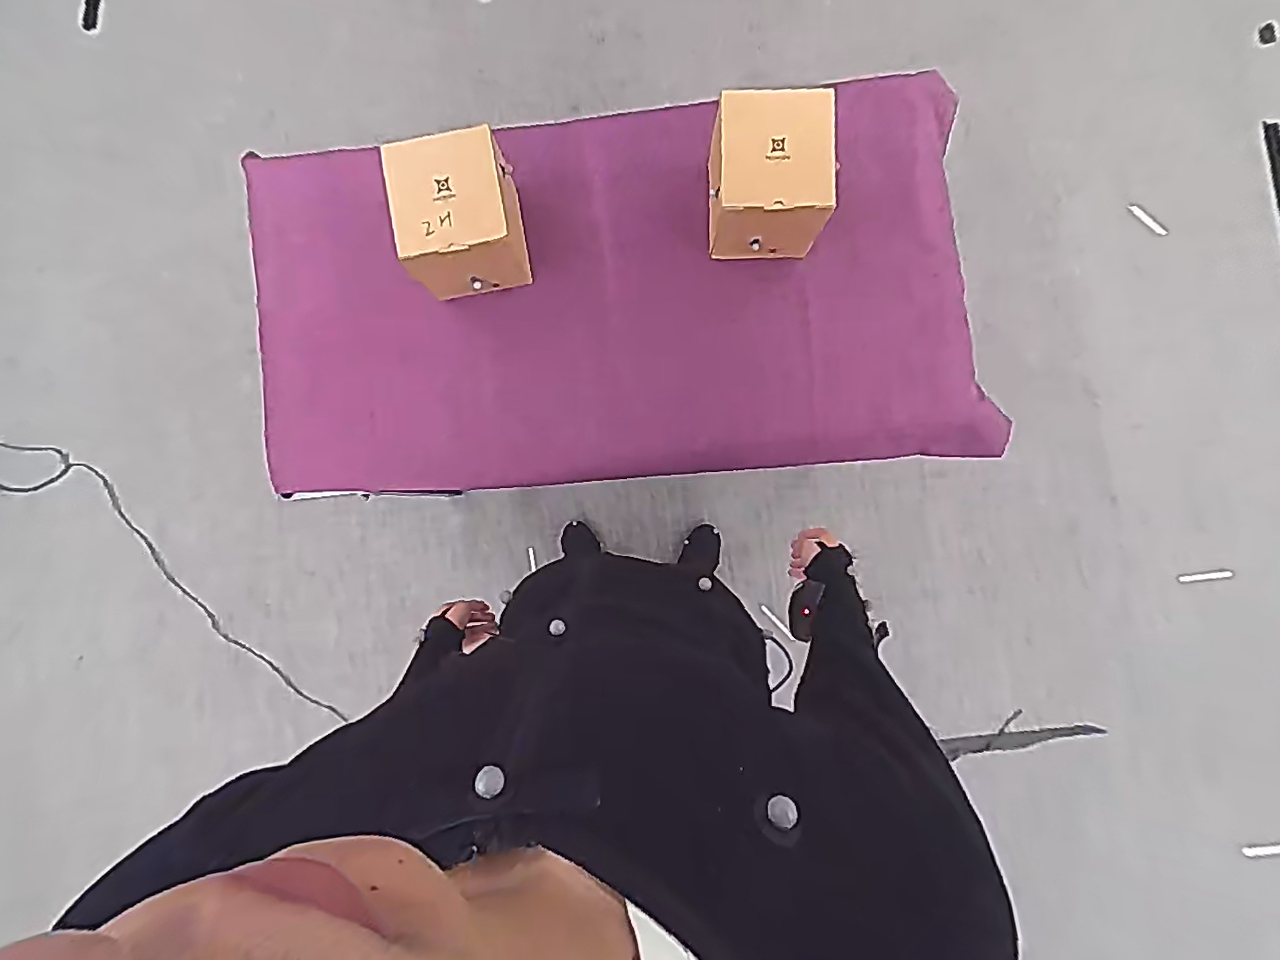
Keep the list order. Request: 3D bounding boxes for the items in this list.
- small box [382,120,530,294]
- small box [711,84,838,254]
[{"bbox_3d":[-0.283,-0.423,0.862,0.168,0.176,0.179,-10,88,1],"label":"small box"},{"bbox_3d":[0.202,-0.479,0.854,0.168,0.176,0.179,0,89,2],"label":"small box"}]
